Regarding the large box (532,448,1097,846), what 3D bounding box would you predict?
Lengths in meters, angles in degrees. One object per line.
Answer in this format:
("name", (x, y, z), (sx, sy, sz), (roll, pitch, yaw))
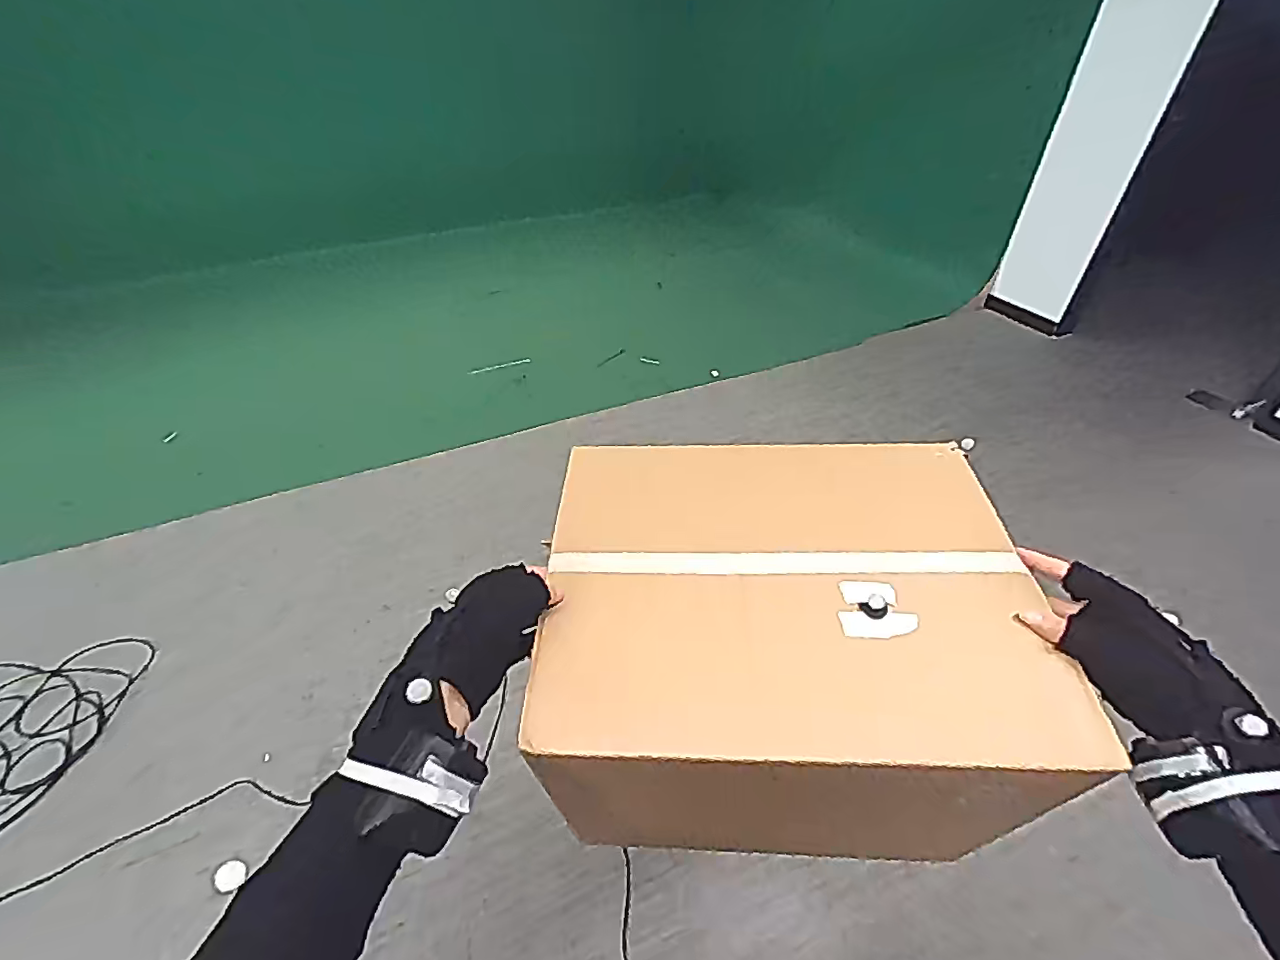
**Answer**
("large box", (0.128, 0.185, 0.588), (0.408, 0.320, 0.320), (-1, 47, 4))
